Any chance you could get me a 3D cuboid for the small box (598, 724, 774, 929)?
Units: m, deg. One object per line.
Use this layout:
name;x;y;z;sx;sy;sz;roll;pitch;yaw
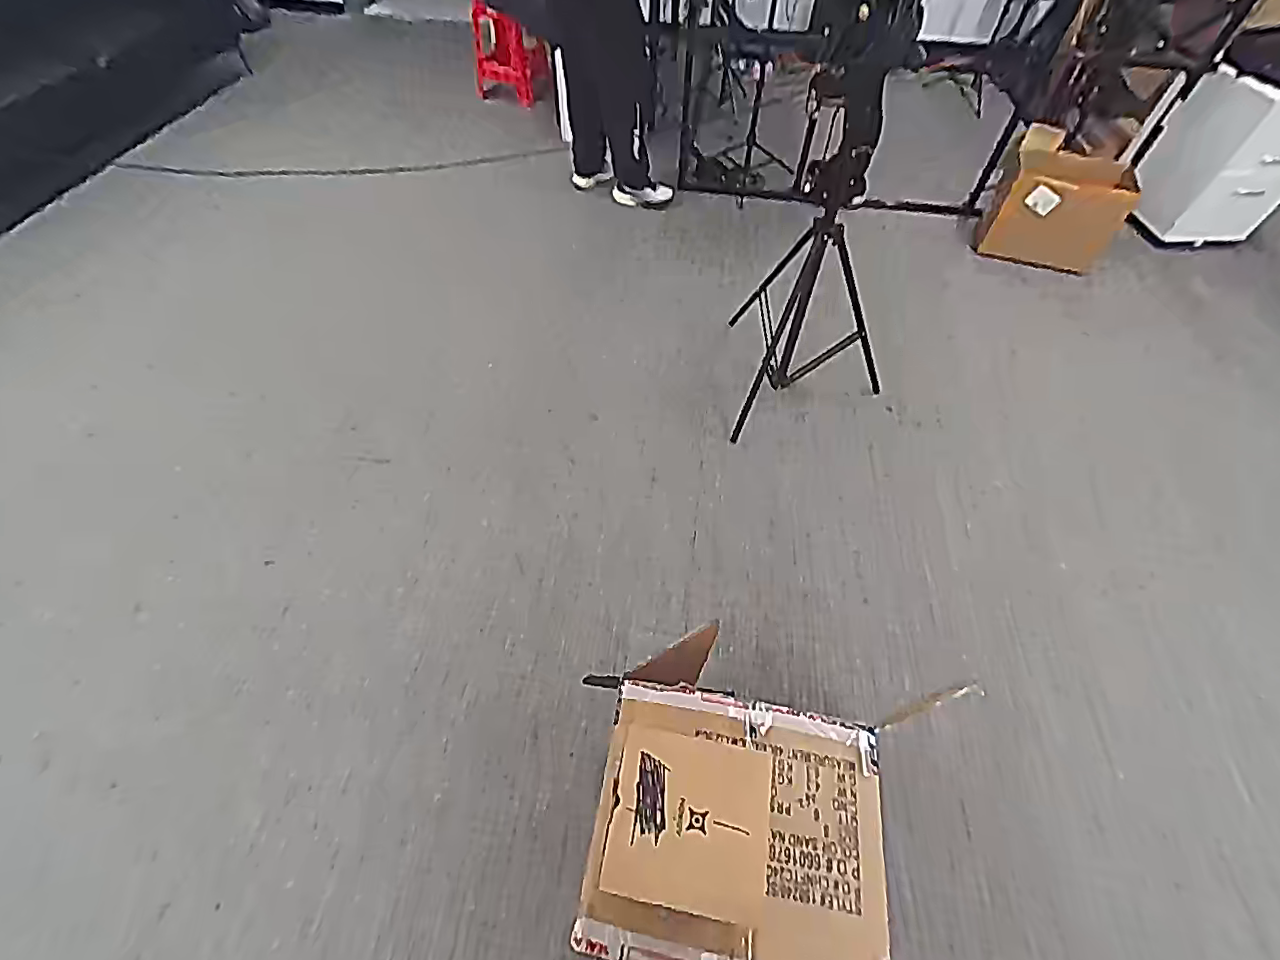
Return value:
small box;0.056;0.418;0.663;0.179;0.176;0.168;10;57;6
